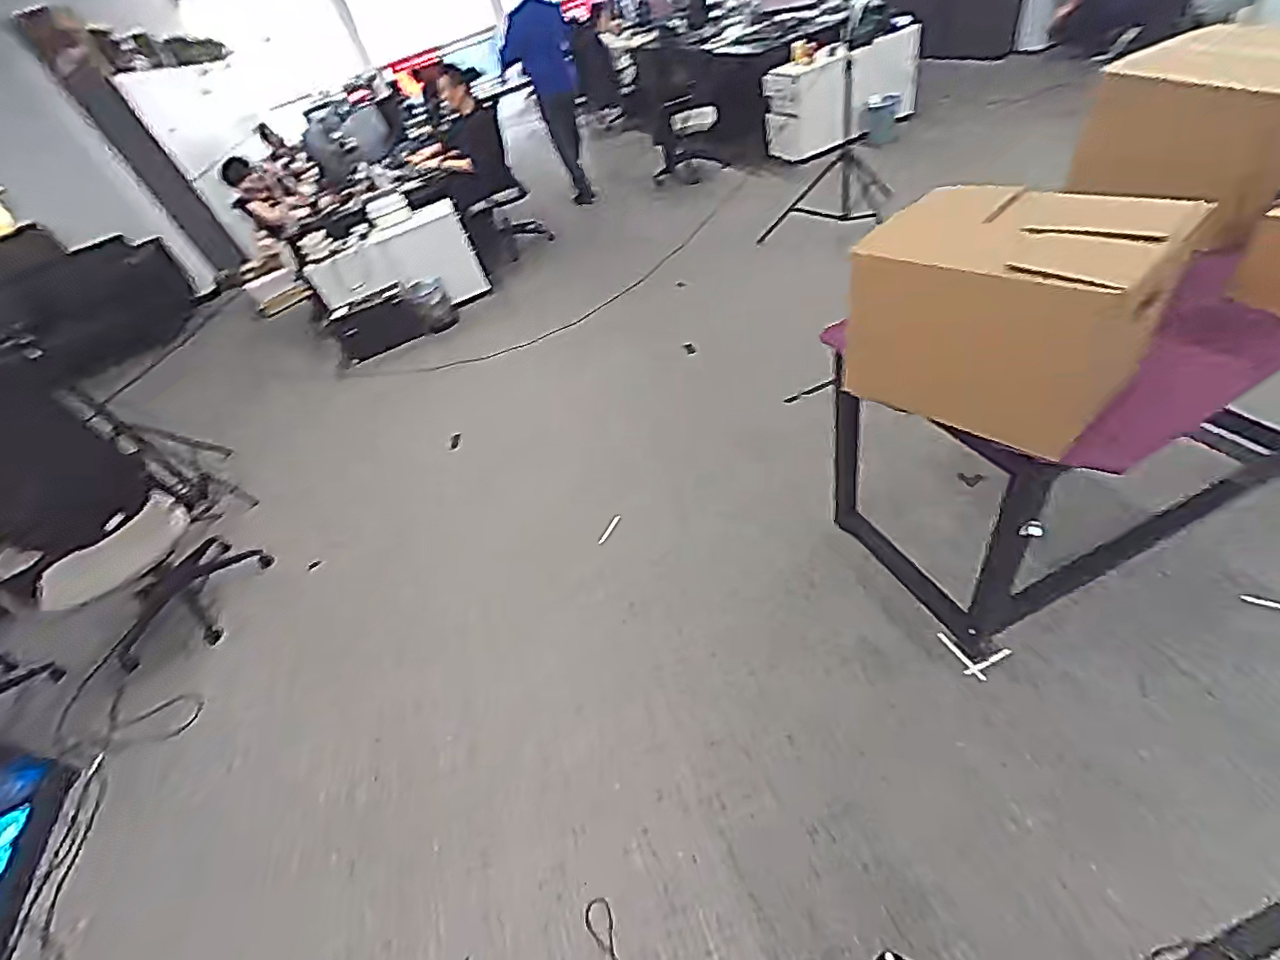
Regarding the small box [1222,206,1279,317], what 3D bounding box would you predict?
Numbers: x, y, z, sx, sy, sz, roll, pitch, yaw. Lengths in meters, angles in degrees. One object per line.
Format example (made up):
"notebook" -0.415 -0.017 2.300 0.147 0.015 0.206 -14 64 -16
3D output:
"small box" 1.253 -0.408 0.988 0.168 0.176 0.179 -22 44 -2
